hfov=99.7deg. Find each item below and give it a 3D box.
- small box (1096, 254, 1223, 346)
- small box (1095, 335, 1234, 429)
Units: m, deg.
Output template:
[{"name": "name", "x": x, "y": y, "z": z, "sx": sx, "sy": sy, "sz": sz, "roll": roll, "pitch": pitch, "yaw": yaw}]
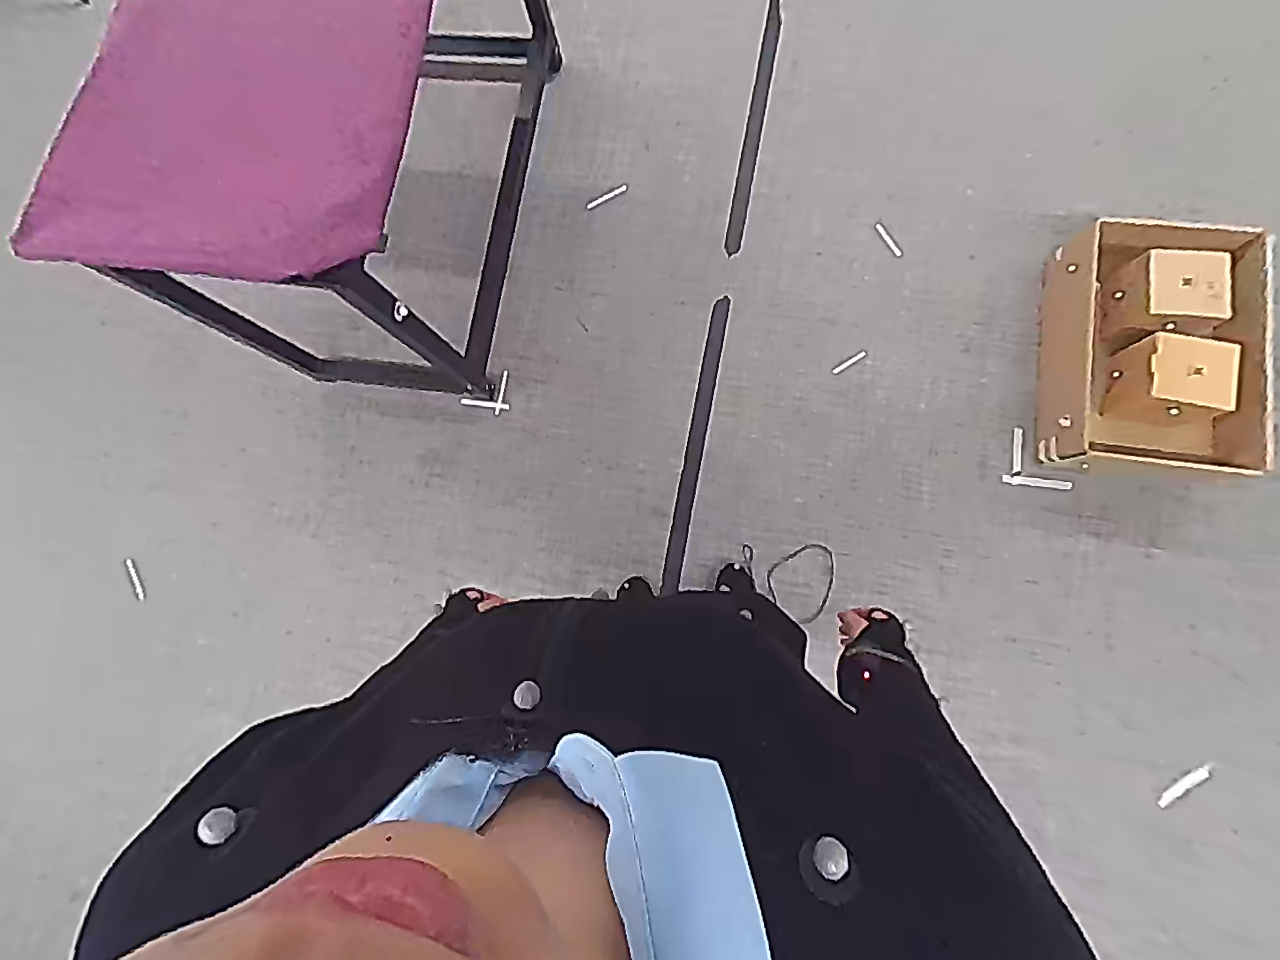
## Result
[{"name": "small box", "x": 1.307, "y": -0.450, "z": 1.372, "sx": 0.179, "sy": 0.176, "sz": 0.168, "roll": 6, "pitch": 83, "yaw": 6}, {"name": "small box", "x": 1.293, "y": -0.235, "z": 1.342, "sx": 0.179, "sy": 0.176, "sz": 0.168, "roll": 13, "pitch": 82, "yaw": 8}]
